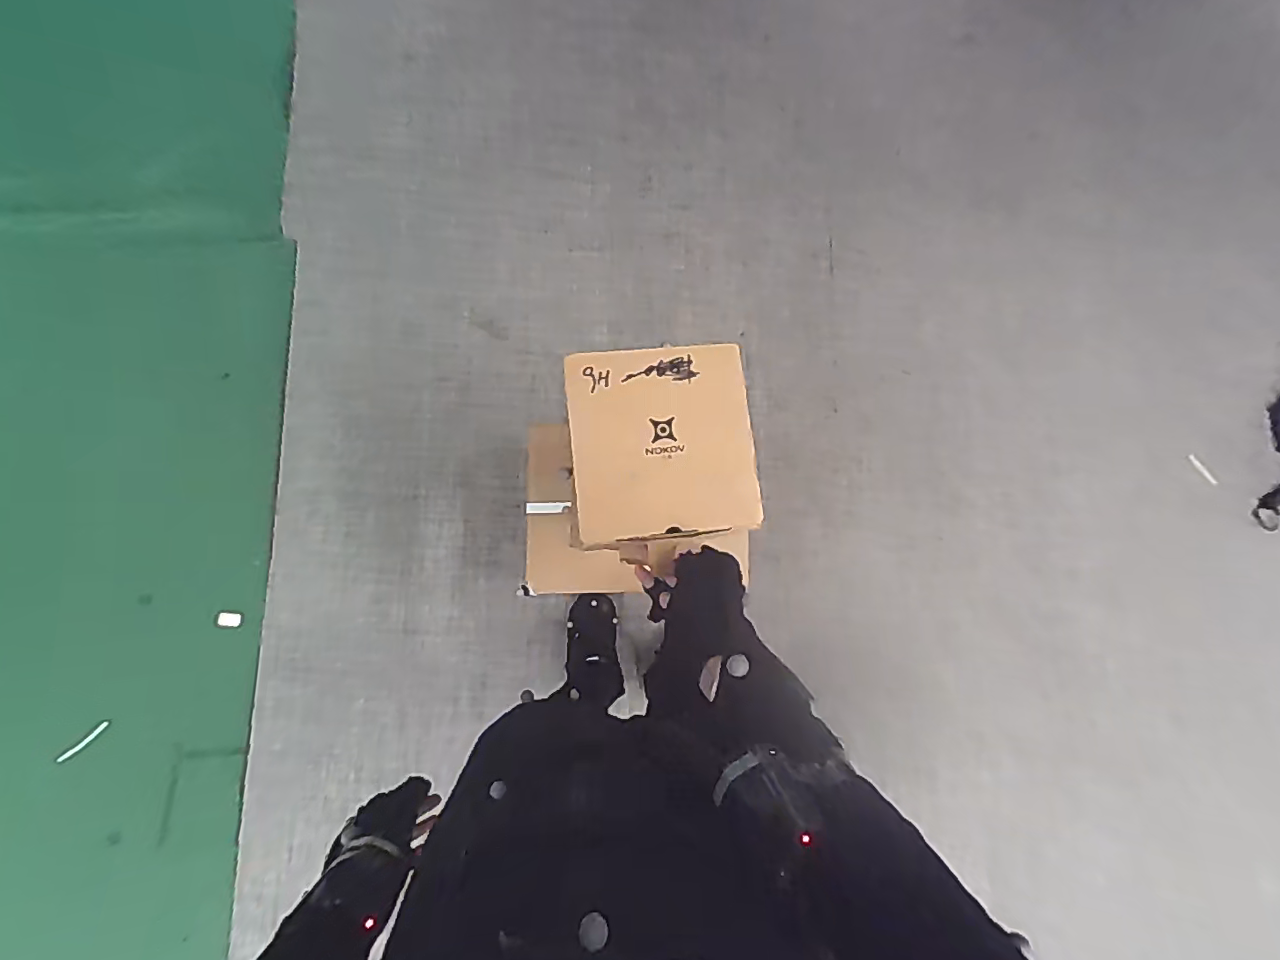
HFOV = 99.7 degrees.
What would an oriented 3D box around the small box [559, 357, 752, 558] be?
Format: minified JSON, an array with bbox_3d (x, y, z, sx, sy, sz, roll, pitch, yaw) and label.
[{"bbox_3d":[0.008,-0.013,0.572,0.168,0.176,0.179,-6,82,-6],"label":"small box"}]
